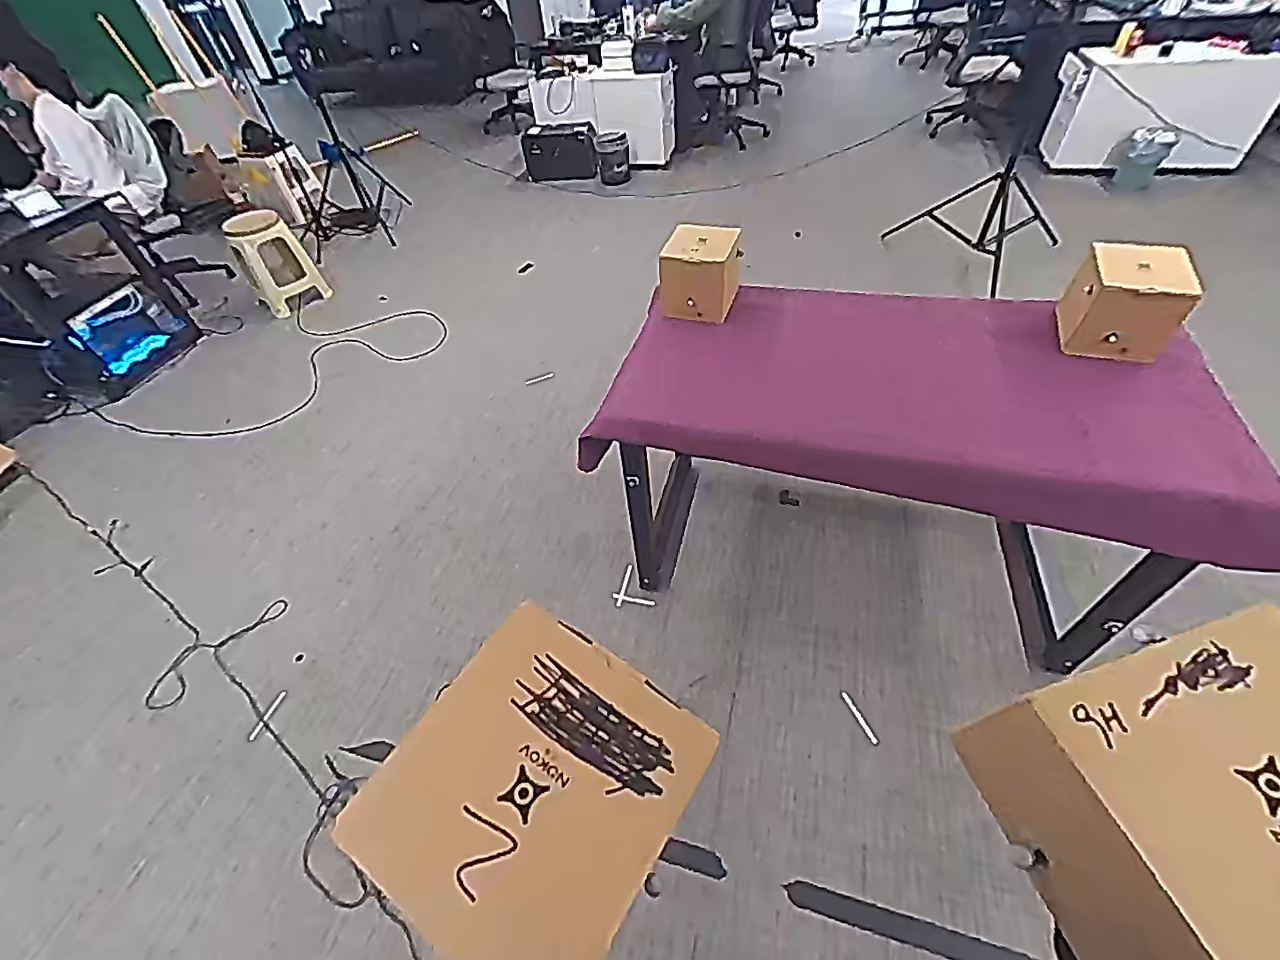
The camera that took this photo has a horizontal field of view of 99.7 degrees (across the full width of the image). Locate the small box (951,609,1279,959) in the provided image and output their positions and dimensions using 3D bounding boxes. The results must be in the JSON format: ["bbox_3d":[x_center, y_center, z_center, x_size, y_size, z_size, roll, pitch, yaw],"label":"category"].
[{"bbox_3d":[0.349,0.214,0.354,0.168,0.176,0.179,-20,57,-2],"label":"small box"}]

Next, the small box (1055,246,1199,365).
[{"bbox_3d":[1.031,-0.377,1.167,0.168,0.176,0.179,13,55,17],"label":"small box"}]

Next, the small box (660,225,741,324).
[{"bbox_3d":[0.157,-0.530,1.394,0.168,0.176,0.179,12,52,16],"label":"small box"}]
